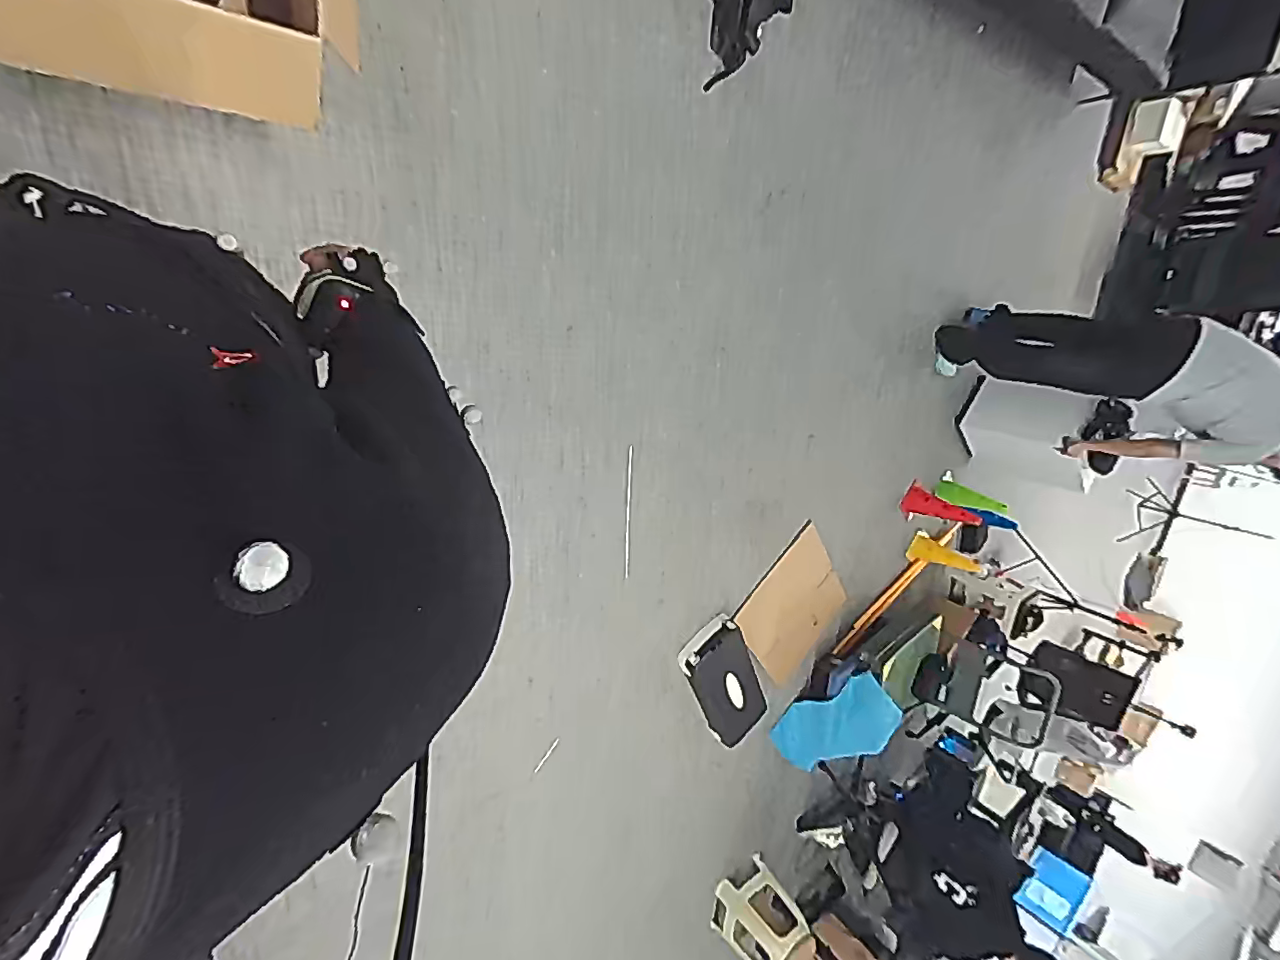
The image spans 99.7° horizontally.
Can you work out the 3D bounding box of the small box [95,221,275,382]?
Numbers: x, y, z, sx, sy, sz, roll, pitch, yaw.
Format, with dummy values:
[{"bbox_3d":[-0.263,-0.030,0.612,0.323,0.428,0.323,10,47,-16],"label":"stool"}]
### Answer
[{"bbox_3d":[-0.776,-0.297,0.938,0.176,0.168,0.179,-36,145,11],"label":"small box"}]
